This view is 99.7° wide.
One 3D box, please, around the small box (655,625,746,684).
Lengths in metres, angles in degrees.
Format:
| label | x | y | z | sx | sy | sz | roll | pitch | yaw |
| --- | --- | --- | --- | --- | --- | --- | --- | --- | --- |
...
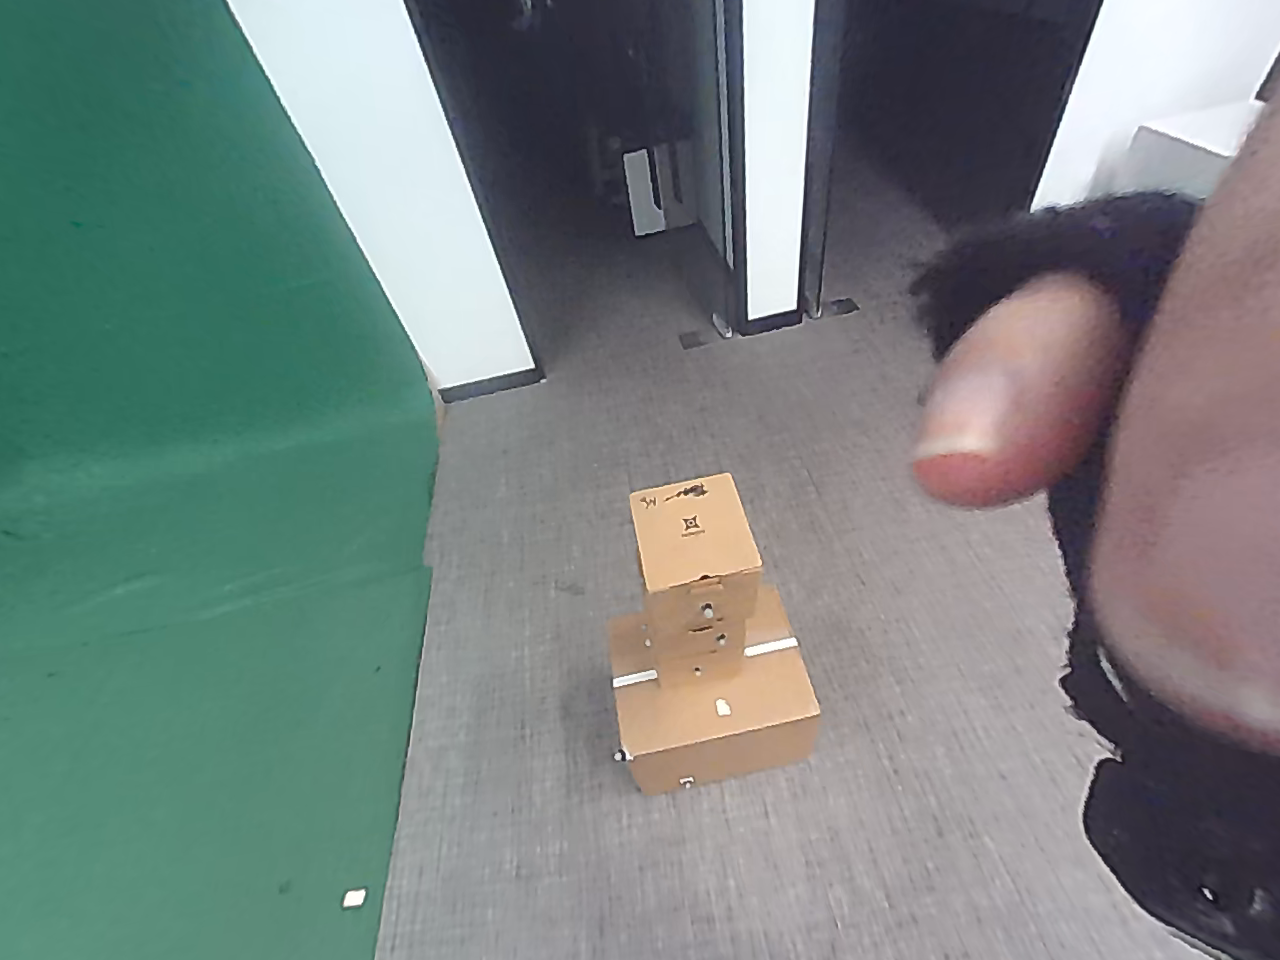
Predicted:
| label | x | y | z | sx | sy | sz | roll | pitch | yaw |
| --- | --- | --- | --- | --- | --- | --- | --- | --- | --- |
| small box | 0.112 | 0.309 | 1.132 | 0.179 | 0.176 | 0.168 | -13 | 53 | 0 |

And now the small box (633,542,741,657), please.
| label | x | y | z | sx | sy | sz | roll | pitch | yaw |
| --- | --- | --- | --- | --- | --- | --- | --- | --- | --- |
| small box | 0.090 | 0.213 | 1.003 | 0.168 | 0.176 | 0.179 | -12 | 52 | 0 |

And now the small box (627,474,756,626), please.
| label | x | y | z | sx | sy | sz | roll | pitch | yaw |
| --- | --- | --- | --- | --- | --- | --- | --- | --- | --- |
| small box | 0.083 | 0.120 | 0.869 | 0.168 | 0.176 | 0.179 | -12 | 53 | 0 |
